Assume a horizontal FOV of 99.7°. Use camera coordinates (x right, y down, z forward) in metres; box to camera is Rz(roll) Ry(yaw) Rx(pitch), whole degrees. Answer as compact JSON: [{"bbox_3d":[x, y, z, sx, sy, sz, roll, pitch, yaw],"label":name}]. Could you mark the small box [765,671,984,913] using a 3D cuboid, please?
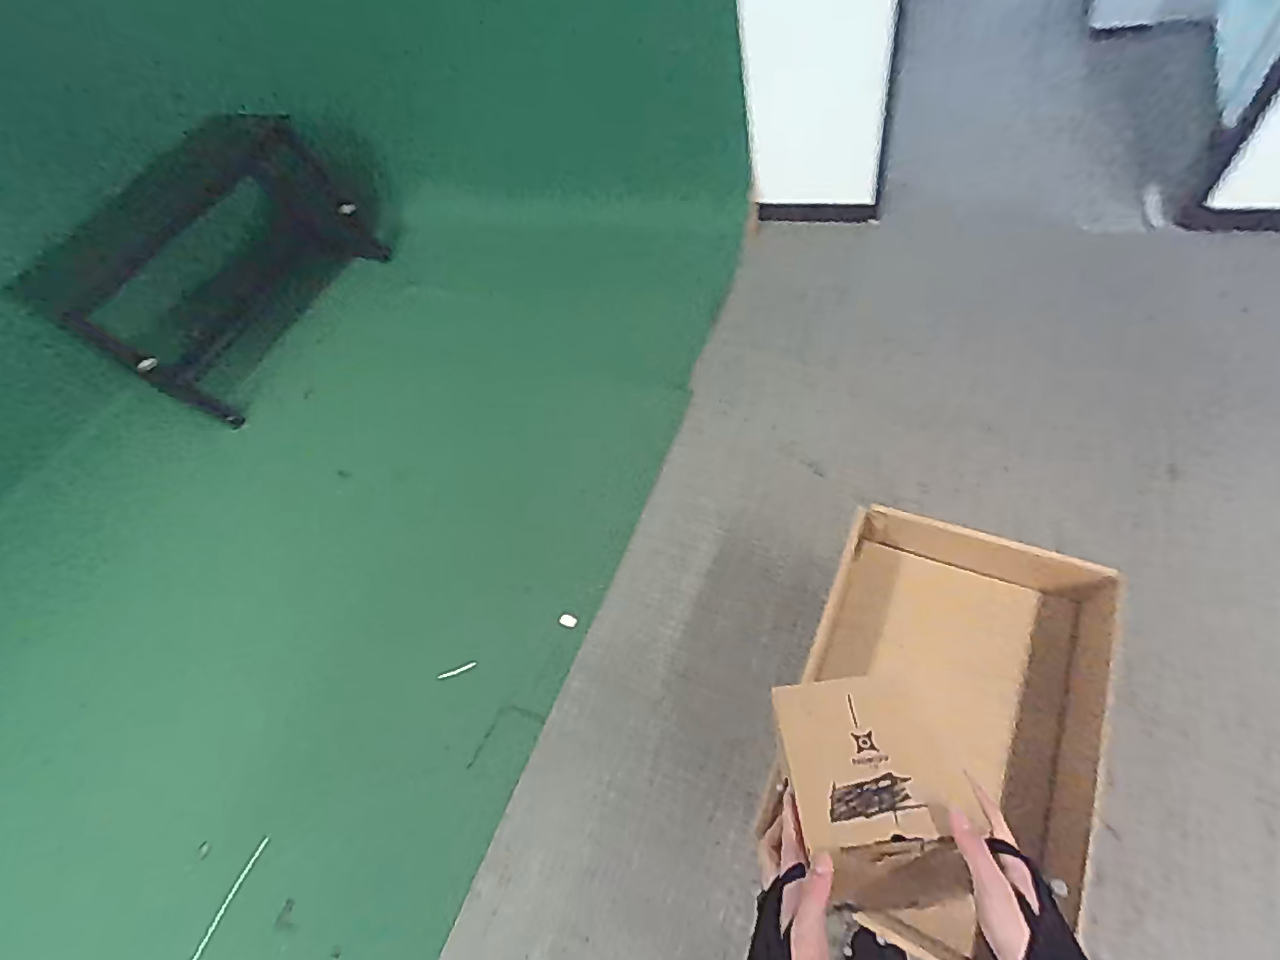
[{"bbox_3d":[0.243,0.345,0.595,0.168,0.176,0.179,-11,33,6],"label":"small box"}]
